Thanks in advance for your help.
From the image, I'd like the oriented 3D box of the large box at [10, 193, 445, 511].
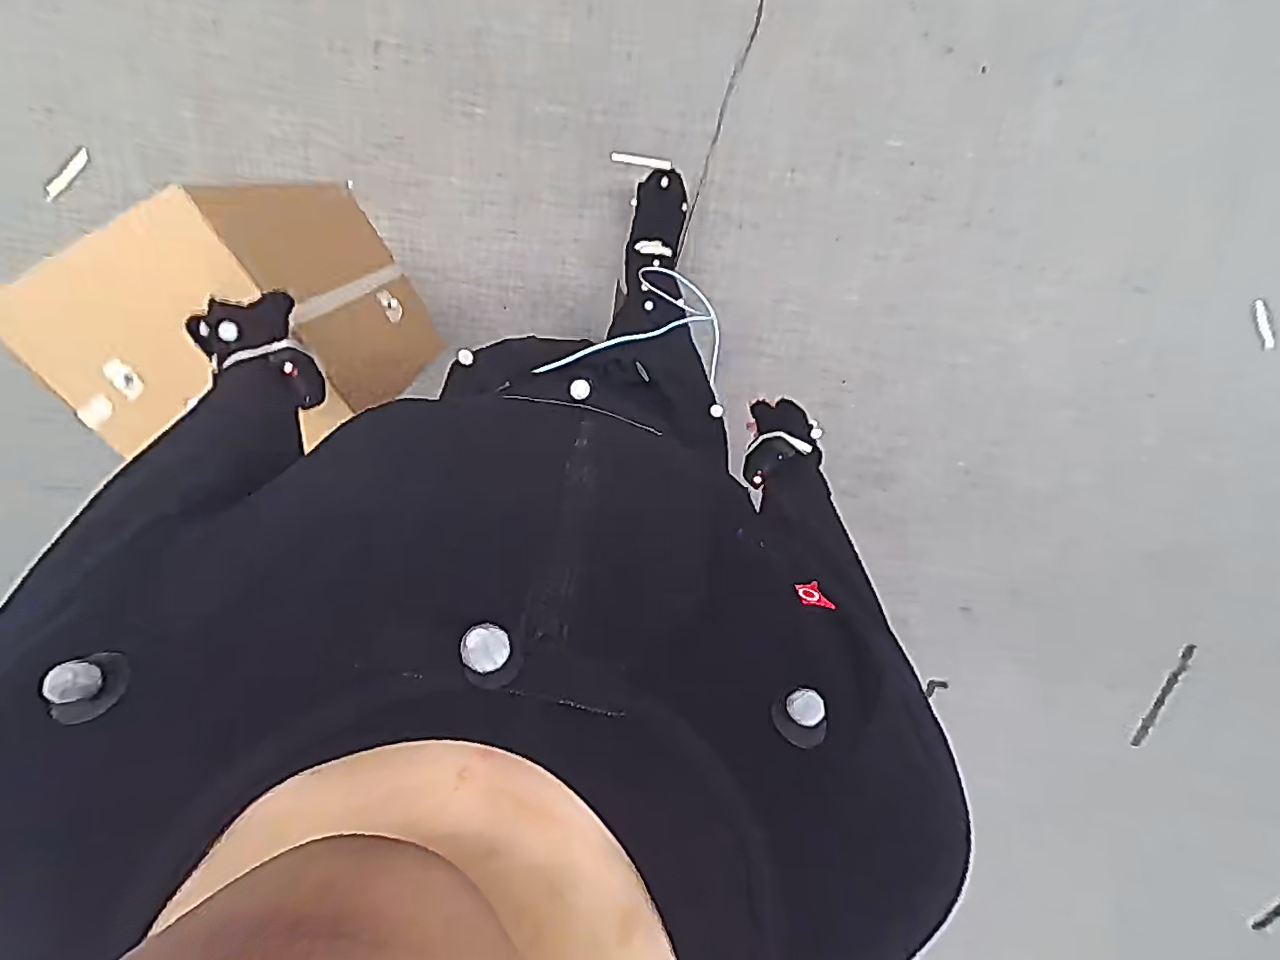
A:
[{"bbox_3d":[-0.576,-0.220,0.858,0.320,0.408,0.320,-23,117,10],"label":"large box"}]
